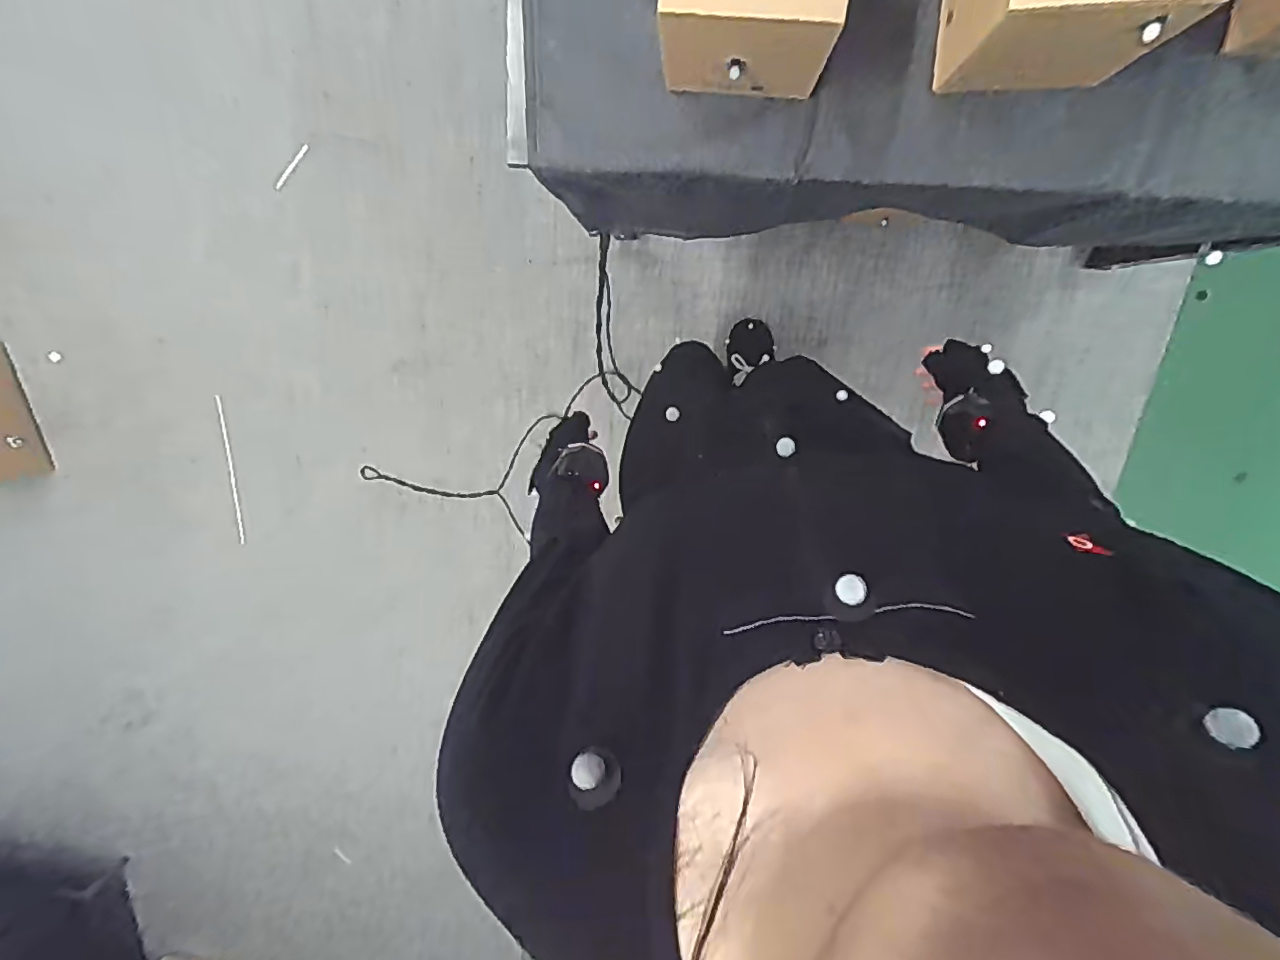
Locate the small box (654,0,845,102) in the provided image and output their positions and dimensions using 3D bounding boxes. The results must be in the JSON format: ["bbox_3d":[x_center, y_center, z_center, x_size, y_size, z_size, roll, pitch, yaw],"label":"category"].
[{"bbox_3d":[0.111,-0.498,0.525,0.168,0.176,0.179,7,107,4],"label":"small box"}]

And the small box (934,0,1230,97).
[{"bbox_3d":[0.399,-0.481,0.499,0.179,0.176,0.168,1,106,7],"label":"small box"}]

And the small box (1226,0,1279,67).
[{"bbox_3d":[0.679,-0.492,0.460,0.168,0.176,0.179,4,107,7],"label":"small box"}]

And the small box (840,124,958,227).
[{"bbox_3d":[0.557,-0.660,1.187,0.179,0.176,0.168,4,106,7],"label":"small box"}]
